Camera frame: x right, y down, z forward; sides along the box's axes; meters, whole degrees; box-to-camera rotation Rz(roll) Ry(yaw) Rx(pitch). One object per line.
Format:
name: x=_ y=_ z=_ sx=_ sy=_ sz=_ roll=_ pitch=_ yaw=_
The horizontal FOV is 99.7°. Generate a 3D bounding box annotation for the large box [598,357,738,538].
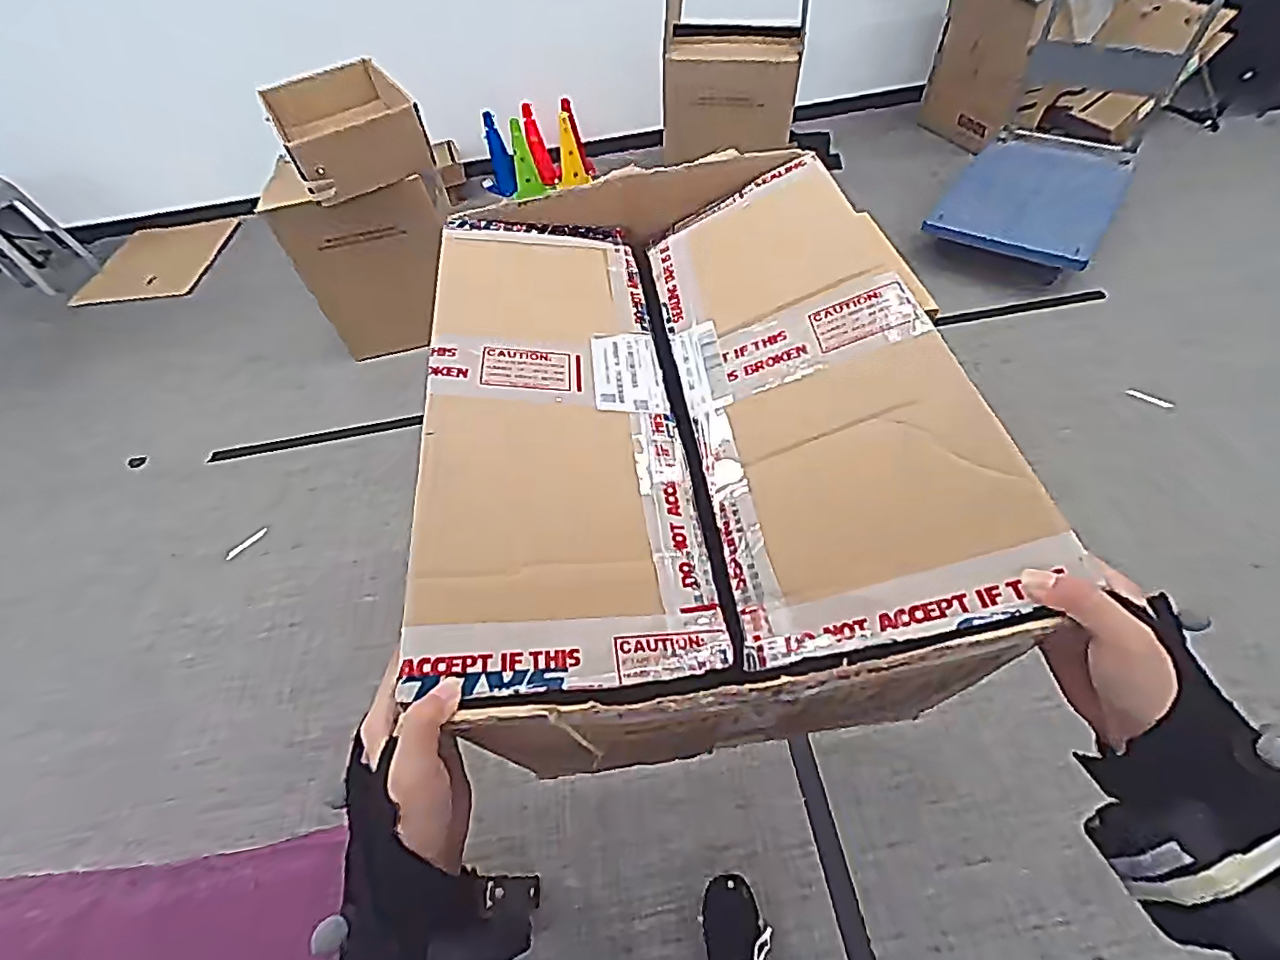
large box: x=0.074 y=-0.095 z=1.587 sx=0.320 sy=0.320 sz=0.408 roll=-11 pitch=54 yaw=-1
